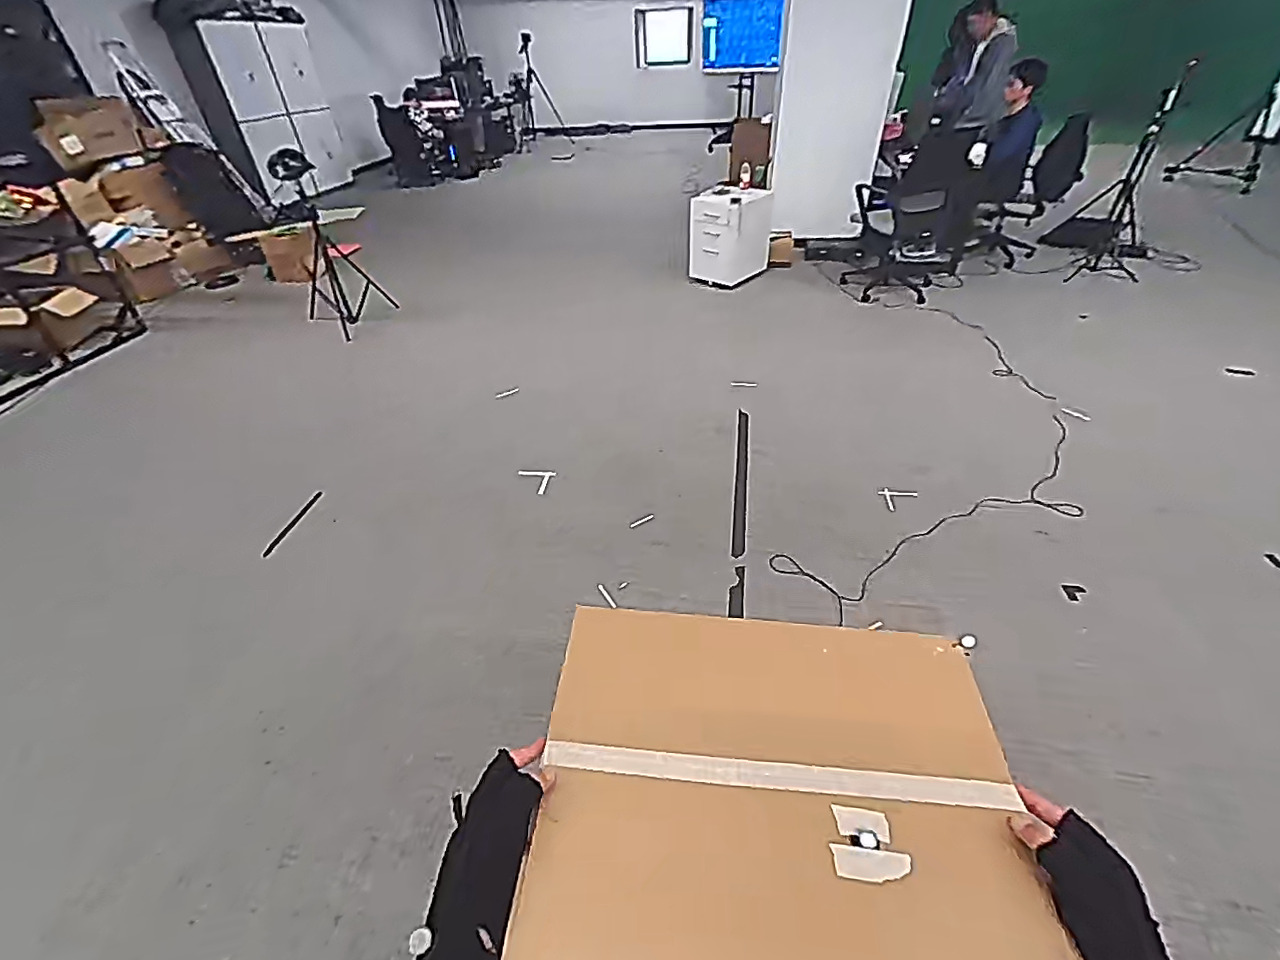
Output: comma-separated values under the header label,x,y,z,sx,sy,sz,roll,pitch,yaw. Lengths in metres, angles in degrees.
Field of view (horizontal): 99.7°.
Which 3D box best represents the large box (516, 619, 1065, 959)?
label,x,y,z,sx,sy,sz,roll,pitch,yaw
large box,0.117,0.377,0.573,0.408,0.320,0.320,4,43,4
